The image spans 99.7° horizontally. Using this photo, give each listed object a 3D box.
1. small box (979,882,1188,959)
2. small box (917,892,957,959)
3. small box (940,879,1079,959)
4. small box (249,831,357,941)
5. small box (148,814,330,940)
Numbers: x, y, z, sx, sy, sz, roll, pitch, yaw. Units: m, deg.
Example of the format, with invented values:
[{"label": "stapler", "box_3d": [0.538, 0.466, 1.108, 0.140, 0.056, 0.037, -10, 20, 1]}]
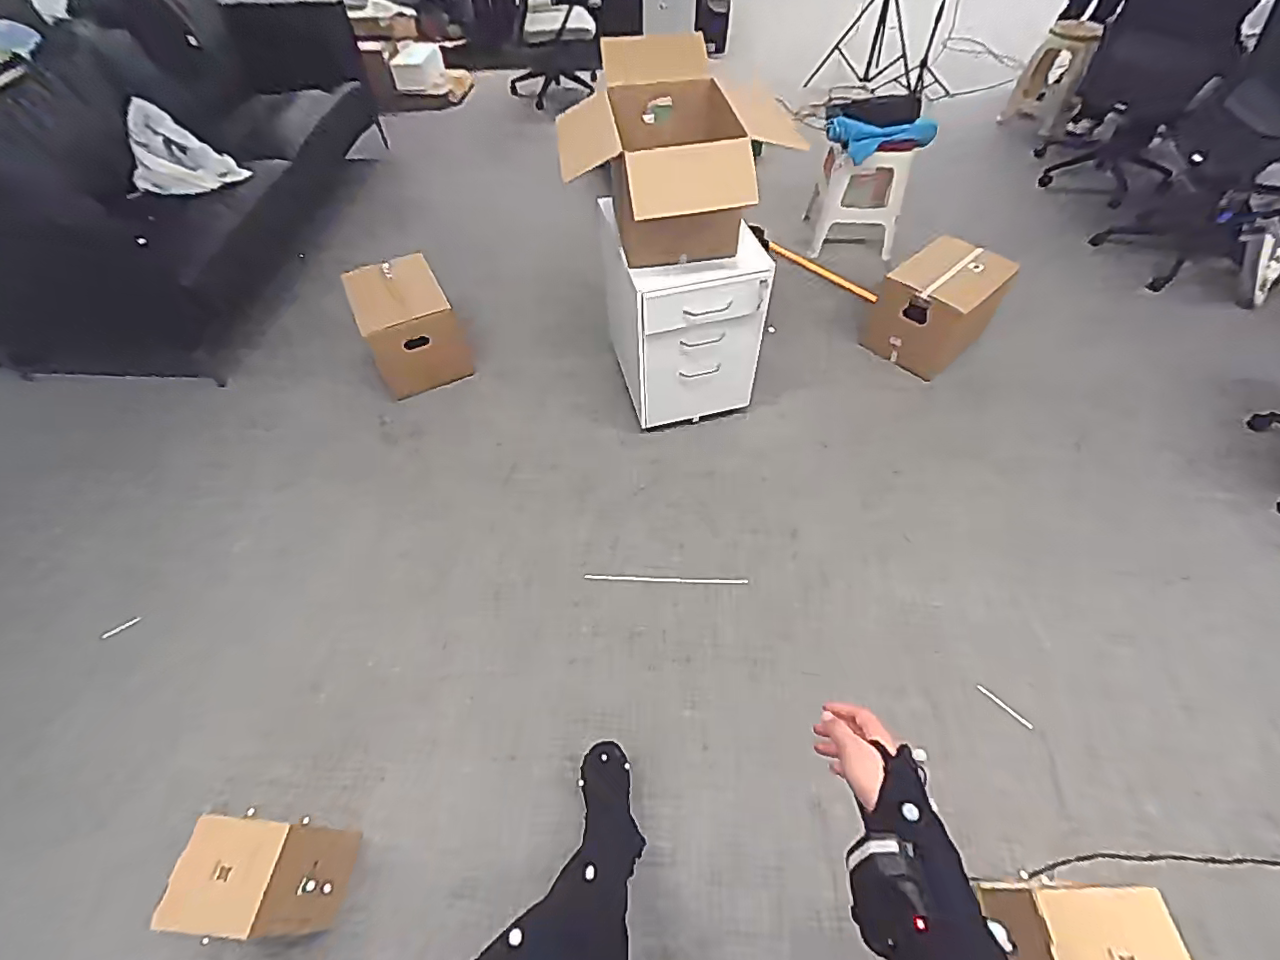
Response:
[{"label": "small box", "box_3d": [0.632, 0.678, 0.770, 0.179, 0.176, 0.168, -3, 53, 1]}, {"label": "small box", "box_3d": [0.652, 0.883, 1.022, 0.179, 0.176, 0.168, -4, 54, -1]}, {"label": "small box", "box_3d": [0.643, 0.771, 0.903, 0.179, 0.176, 0.168, -2, 52, 2]}, {"label": "small box", "box_3d": [-0.726, 0.830, 1.125, 0.168, 0.176, 0.179, 2, 54, 4]}, {"label": "small box", "box_3d": [-0.722, 0.728, 0.998, 0.179, 0.176, 0.168, 3, 54, 3]}]
